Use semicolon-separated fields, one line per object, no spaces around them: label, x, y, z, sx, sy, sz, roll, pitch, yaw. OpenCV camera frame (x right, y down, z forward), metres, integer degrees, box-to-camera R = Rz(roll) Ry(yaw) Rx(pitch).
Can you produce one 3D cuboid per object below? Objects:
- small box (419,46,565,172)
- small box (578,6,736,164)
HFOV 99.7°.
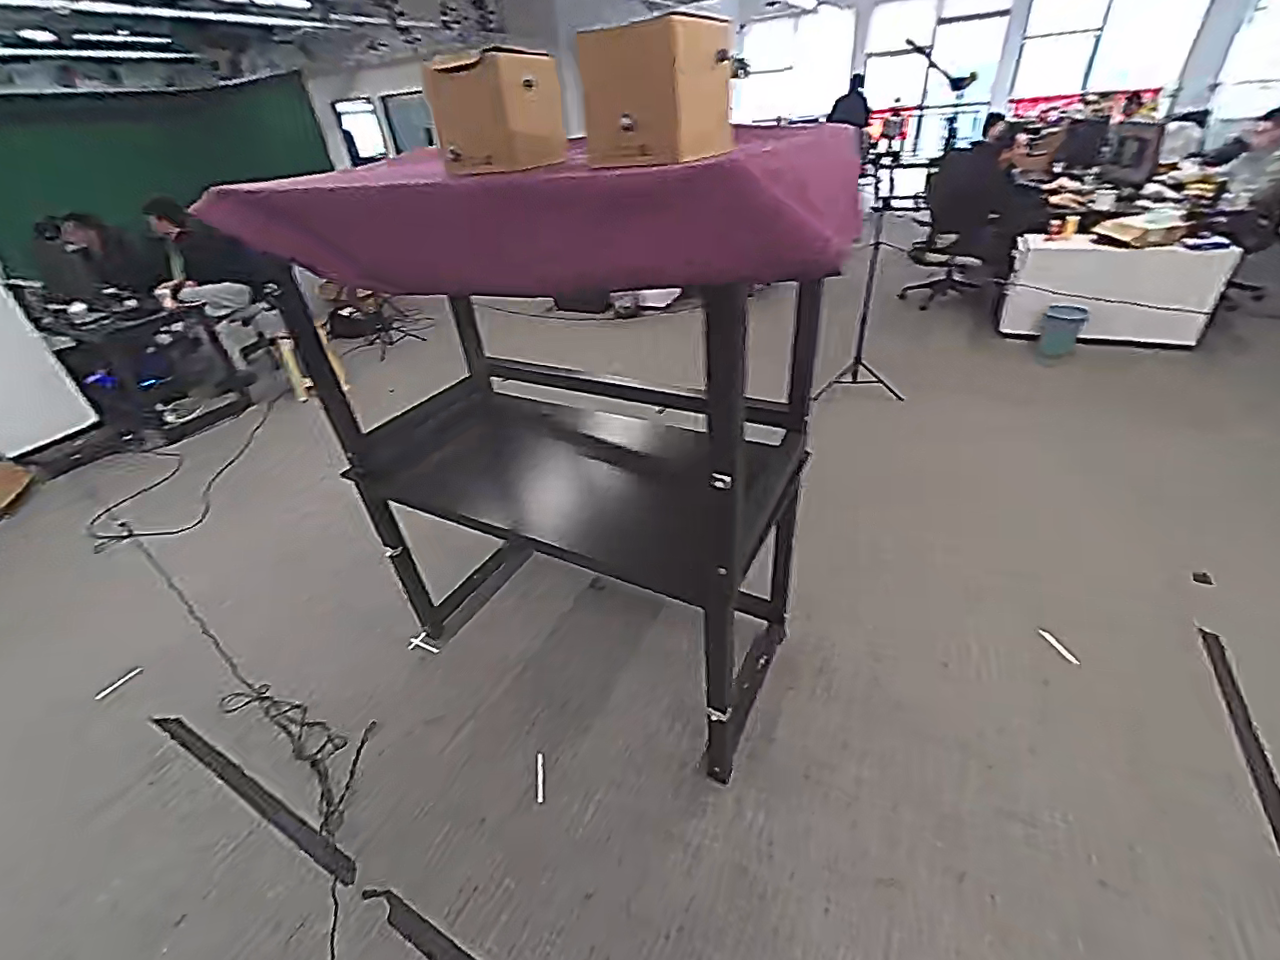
small box;-0.250;-0.652;0.964;0.168;0.176;0.179;10;36;22
small box;0.031;-0.575;0.805;0.168;0.176;0.179;15;39;30
